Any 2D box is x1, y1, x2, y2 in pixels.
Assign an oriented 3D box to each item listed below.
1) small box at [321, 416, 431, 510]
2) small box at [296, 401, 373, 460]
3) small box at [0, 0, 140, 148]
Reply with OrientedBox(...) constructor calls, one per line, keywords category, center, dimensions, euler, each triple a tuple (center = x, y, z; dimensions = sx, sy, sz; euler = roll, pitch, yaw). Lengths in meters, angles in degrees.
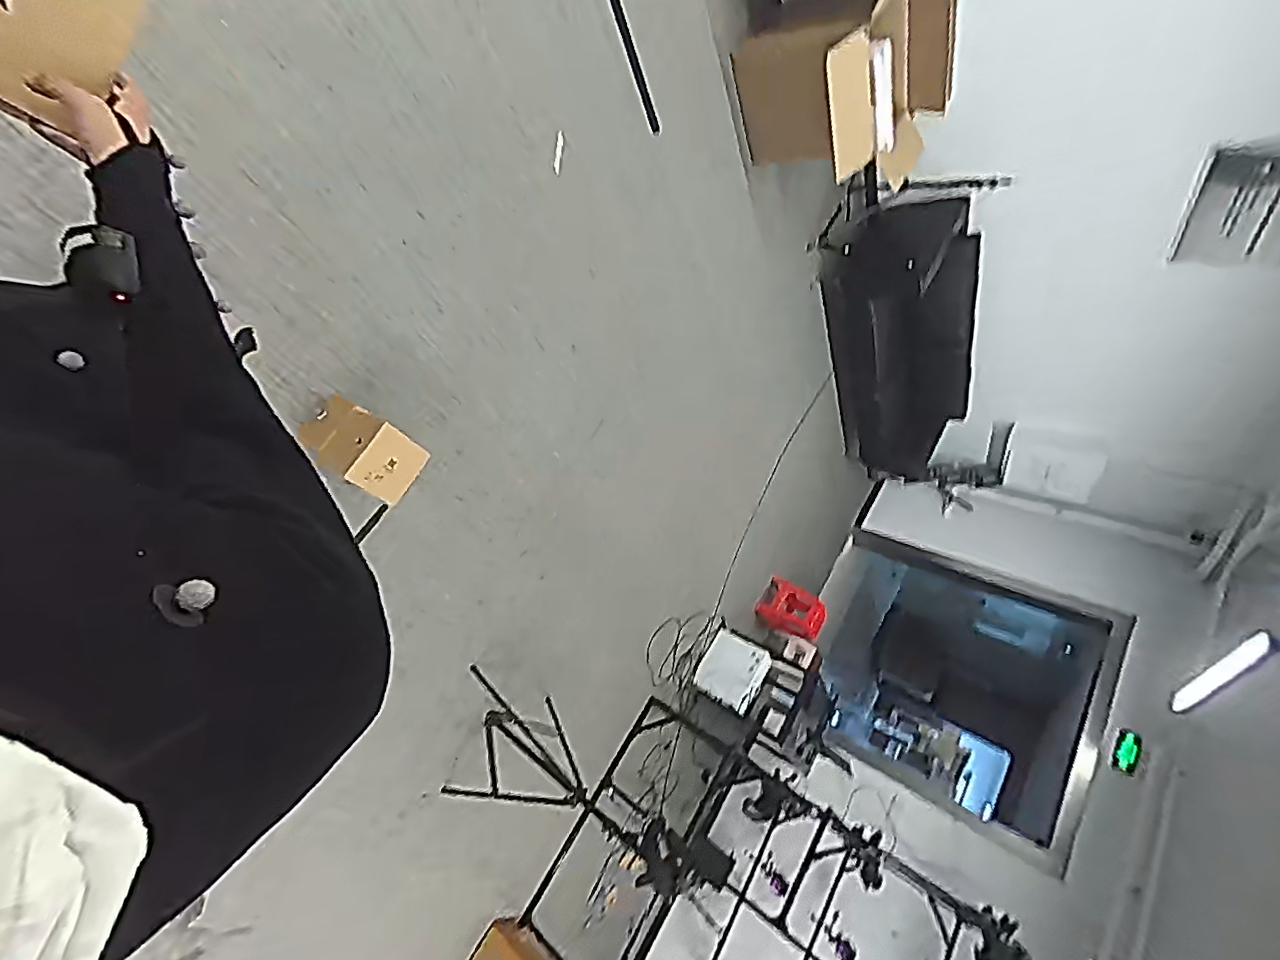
OrientedBox(category="small box", center=(-0.712, -0.050, 1.453), dimensions=(0.179, 0.176, 0.168), euler=(-59, 143, -16))
OrientedBox(category="small box", center=(-0.832, -0.107, 1.550), dimensions=(0.168, 0.176, 0.179), euler=(-58, 142, -17))
OrientedBox(category="small box", center=(-0.588, -0.431, 0.459), dimensions=(0.179, 0.176, 0.168), euler=(-65, 158, 2))
